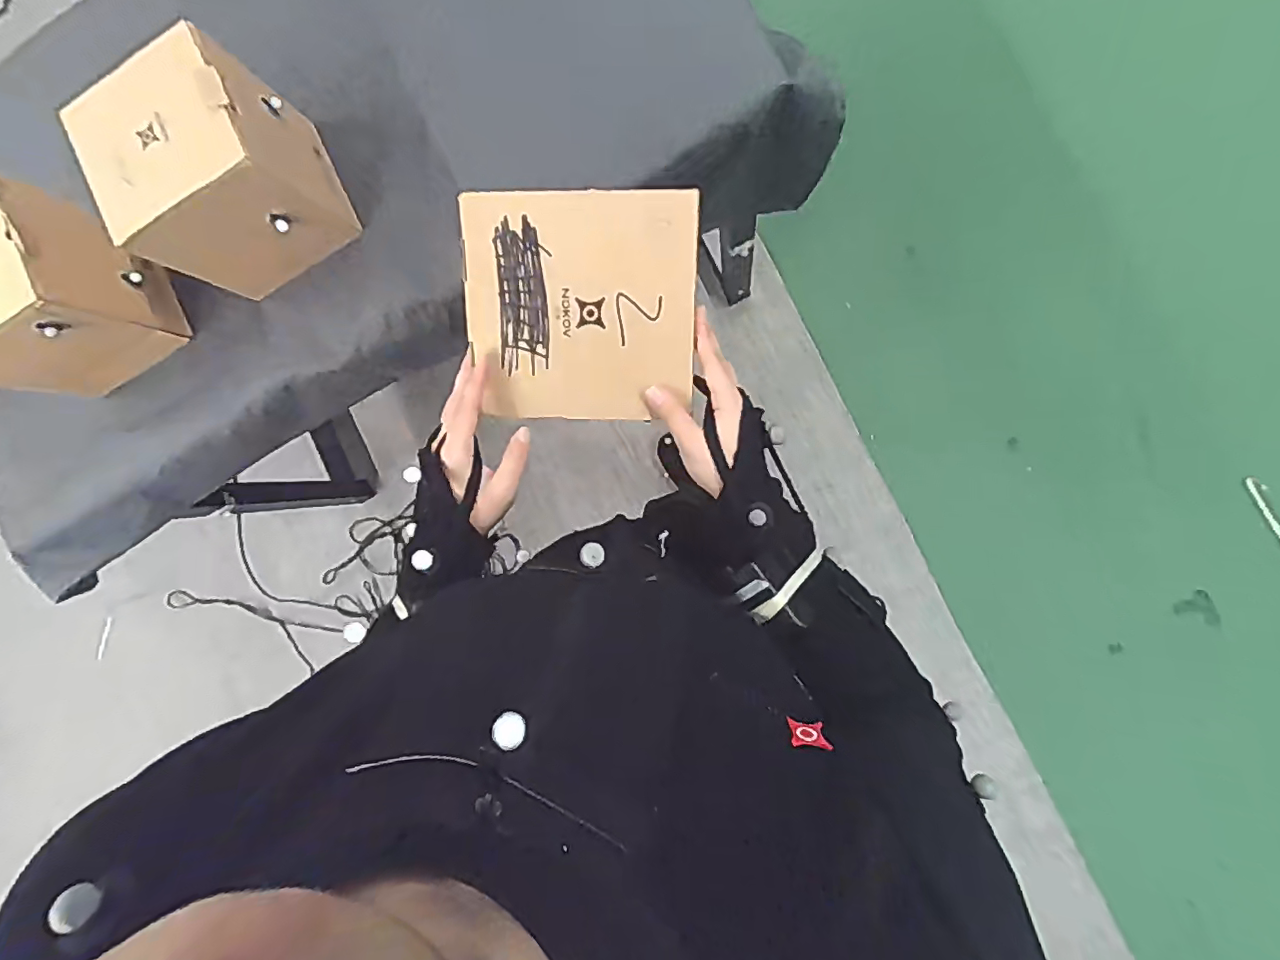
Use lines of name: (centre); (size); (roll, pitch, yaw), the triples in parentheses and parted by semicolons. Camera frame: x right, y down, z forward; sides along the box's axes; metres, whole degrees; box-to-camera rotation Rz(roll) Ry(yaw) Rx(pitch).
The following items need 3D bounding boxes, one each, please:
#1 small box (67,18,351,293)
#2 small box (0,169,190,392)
small box: (-0.469, -0.347, 0.619); (0.179, 0.176, 0.168); (-27, 84, 10)
small box: (-0.718, -0.226, 0.663); (0.179, 0.176, 0.168); (-28, 85, 8)
